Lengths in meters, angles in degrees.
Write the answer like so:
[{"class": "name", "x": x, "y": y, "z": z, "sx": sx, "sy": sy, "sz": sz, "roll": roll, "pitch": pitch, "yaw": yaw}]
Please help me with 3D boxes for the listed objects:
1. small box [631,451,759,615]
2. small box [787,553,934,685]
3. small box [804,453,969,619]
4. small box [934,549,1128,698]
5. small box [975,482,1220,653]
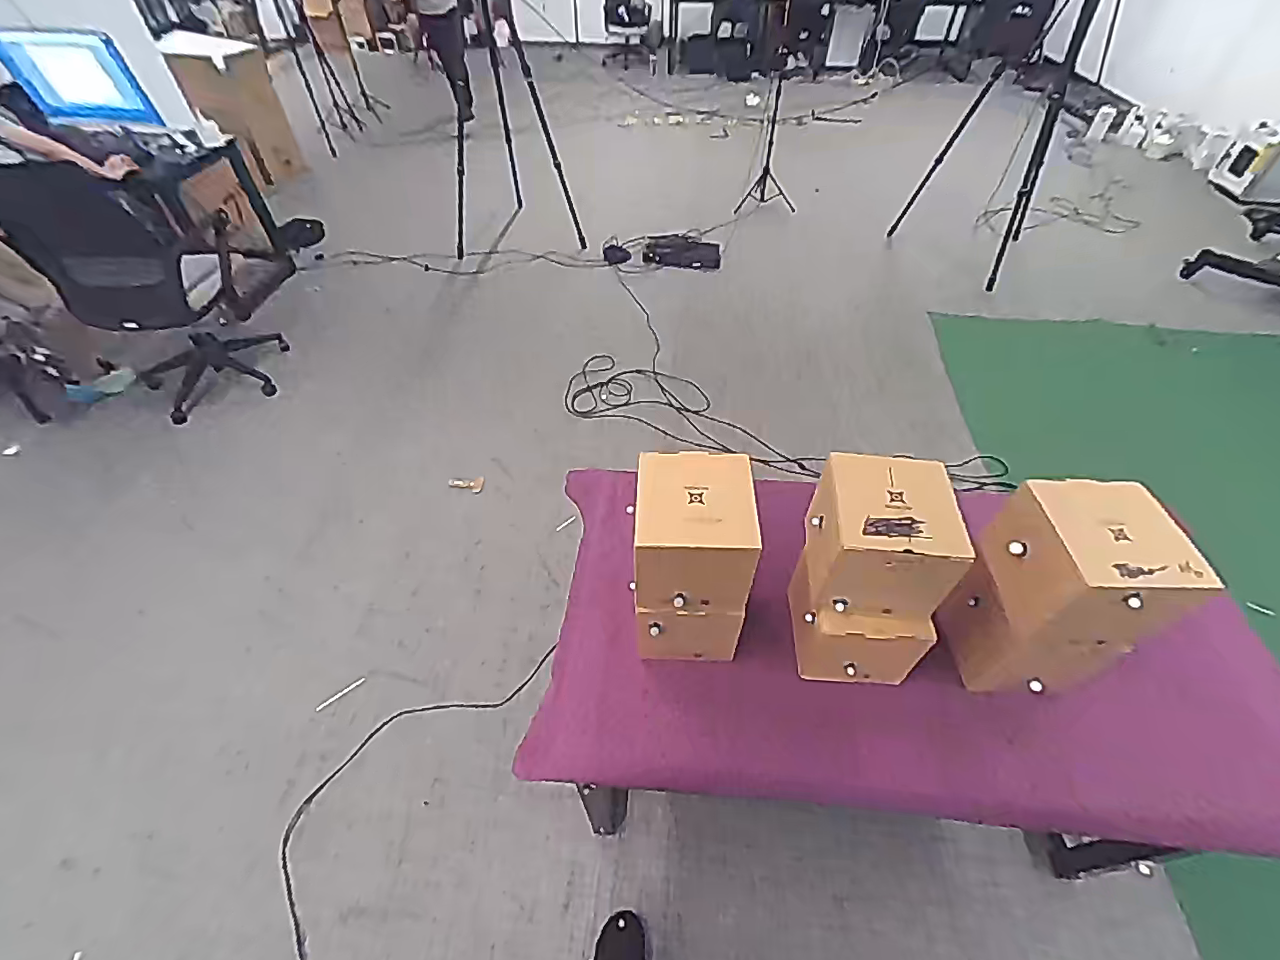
[{"class": "small box", "x": 0.073, "y": 0.078, "z": 0.802, "sx": 0.168, "sy": 0.176, "sz": 0.179, "roll": 2, "pitch": 47, "yaw": 2}, {"class": "small box", "x": 0.350, "y": 0.219, "z": 0.899, "sx": 0.168, "sy": 0.176, "sz": 0.179, "roll": 3, "pitch": 48, "yaw": 2}, {"class": "small box", "x": 0.346, "y": 0.085, "z": 0.799, "sx": 0.168, "sy": 0.176, "sz": 0.179, "roll": 6, "pitch": 48, "yaw": 5}, {"class": "small box", "x": 0.614, "y": 0.233, "z": 0.883, "sx": 0.168, "sy": 0.176, "sz": 0.179, "roll": 1, "pitch": 48, "yaw": 2}, {"class": "small box", "x": 0.615, "y": 0.122, "z": 0.763, "sx": 0.168, "sy": 0.176, "sz": 0.179, "roll": 0, "pitch": 47, "yaw": 1}]
